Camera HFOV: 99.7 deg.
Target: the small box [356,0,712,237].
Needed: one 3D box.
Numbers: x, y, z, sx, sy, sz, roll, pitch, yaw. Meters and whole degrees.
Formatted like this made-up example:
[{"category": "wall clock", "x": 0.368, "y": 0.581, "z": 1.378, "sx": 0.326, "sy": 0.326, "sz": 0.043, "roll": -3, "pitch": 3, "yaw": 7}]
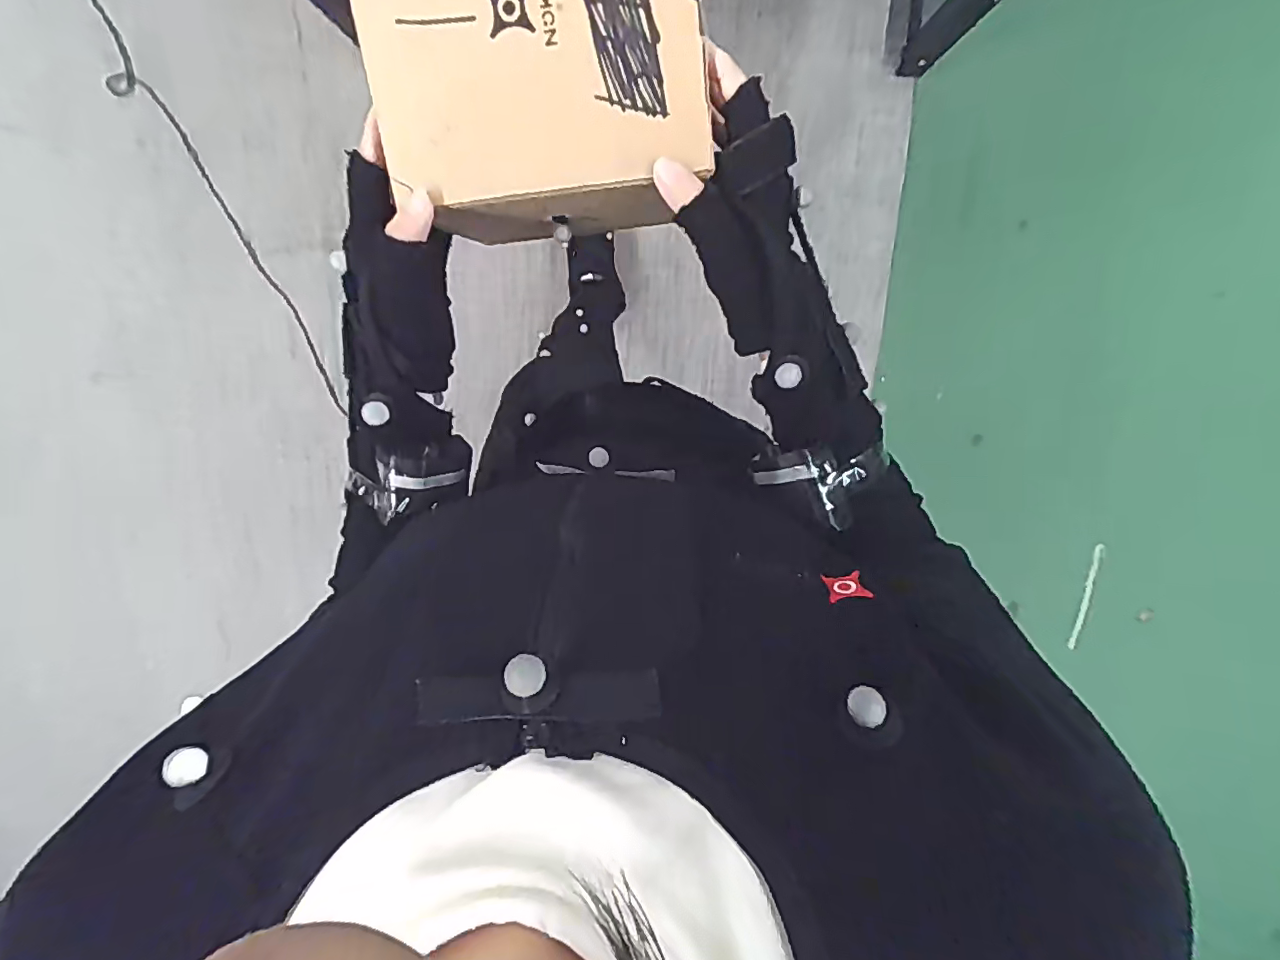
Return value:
[{"category": "small box", "x": -0.054, "y": -0.260, "z": 0.347, "sx": 0.179, "sy": 0.176, "sz": 0.168, "roll": -5, "pitch": 108, "yaw": 3}]
